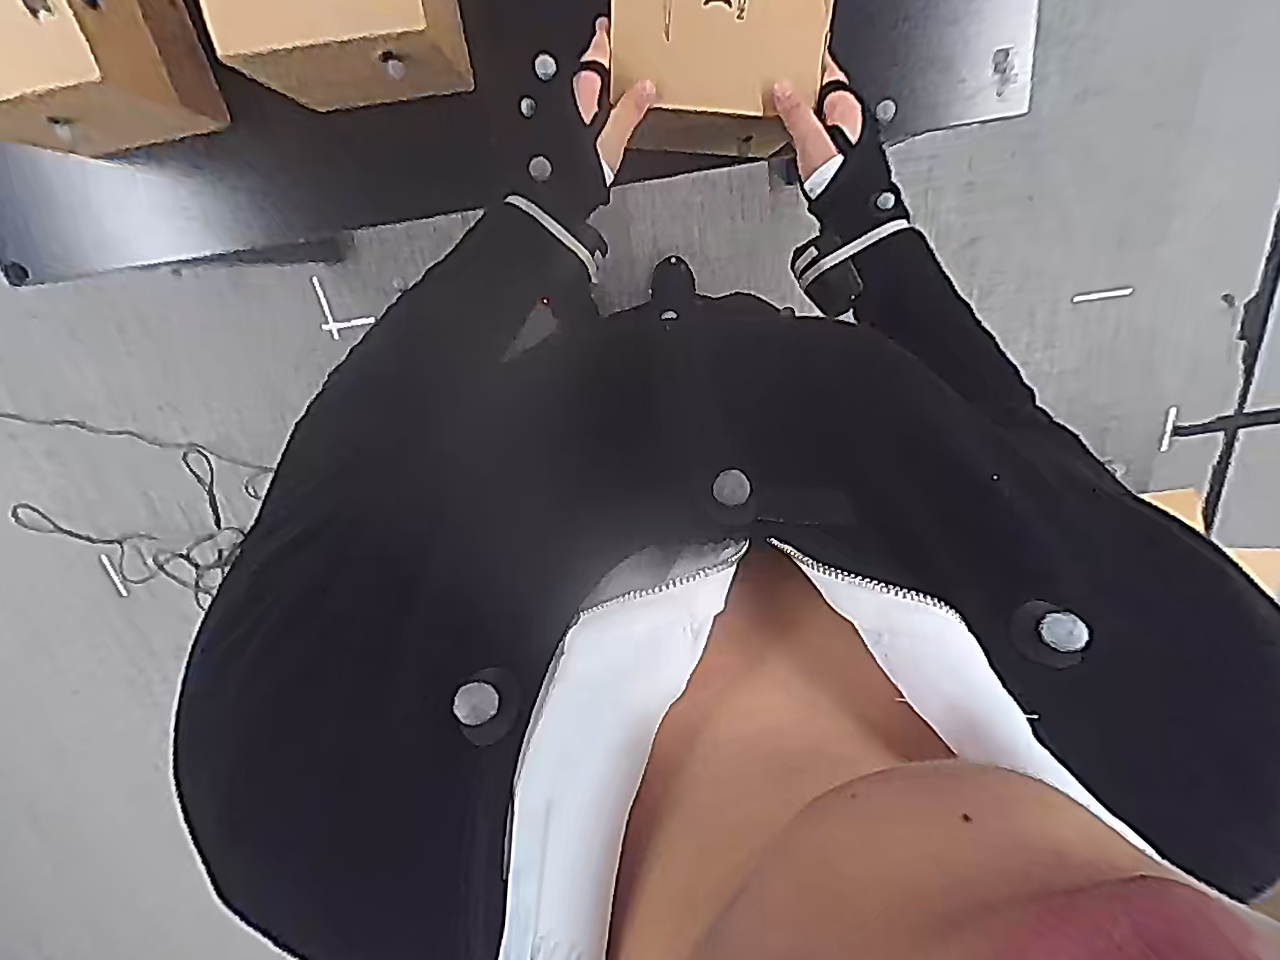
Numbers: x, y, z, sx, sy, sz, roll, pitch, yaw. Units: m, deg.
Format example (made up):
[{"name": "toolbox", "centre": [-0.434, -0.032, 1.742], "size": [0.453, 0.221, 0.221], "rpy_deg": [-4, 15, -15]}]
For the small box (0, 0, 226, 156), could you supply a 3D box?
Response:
[{"name": "small box", "centre": [-0.543, -0.415, 0.492], "size": [0.179, 0.176, 0.168], "rpy_deg": [-11, 112, 2]}]

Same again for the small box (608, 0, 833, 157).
[{"name": "small box", "centre": [0.063, -0.407, 0.492], "size": [0.179, 0.176, 0.168], "rpy_deg": [2, 110, -2]}]

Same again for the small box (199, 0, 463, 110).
[{"name": "small box", "centre": [-0.273, -0.459, 0.487], "size": [0.179, 0.176, 0.168], "rpy_deg": [-8, 112, 1]}]
